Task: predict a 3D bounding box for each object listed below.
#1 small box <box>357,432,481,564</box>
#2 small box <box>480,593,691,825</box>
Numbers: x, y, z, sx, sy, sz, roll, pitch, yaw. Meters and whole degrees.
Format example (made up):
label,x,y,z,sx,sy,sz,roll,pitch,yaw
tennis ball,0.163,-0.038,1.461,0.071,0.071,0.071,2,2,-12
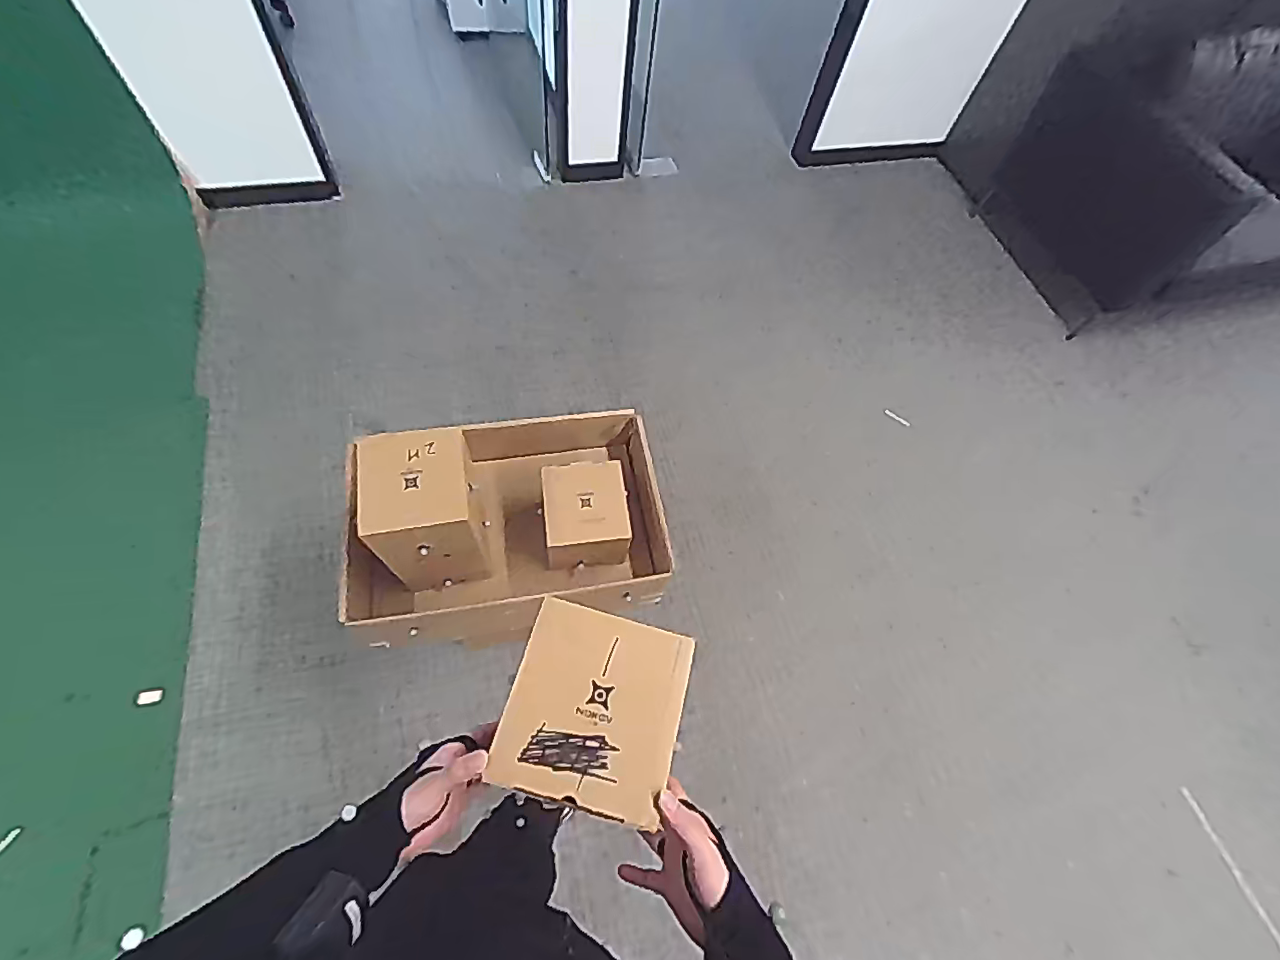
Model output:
label,x,y,z,sx,sy,sz,roll,pitch,yaw
small box,-0.378,0.039,0.945,0.168,0.176,0.179,-8,65,-12
small box,-0.055,0.250,0.592,0.168,0.176,0.179,16,61,1
